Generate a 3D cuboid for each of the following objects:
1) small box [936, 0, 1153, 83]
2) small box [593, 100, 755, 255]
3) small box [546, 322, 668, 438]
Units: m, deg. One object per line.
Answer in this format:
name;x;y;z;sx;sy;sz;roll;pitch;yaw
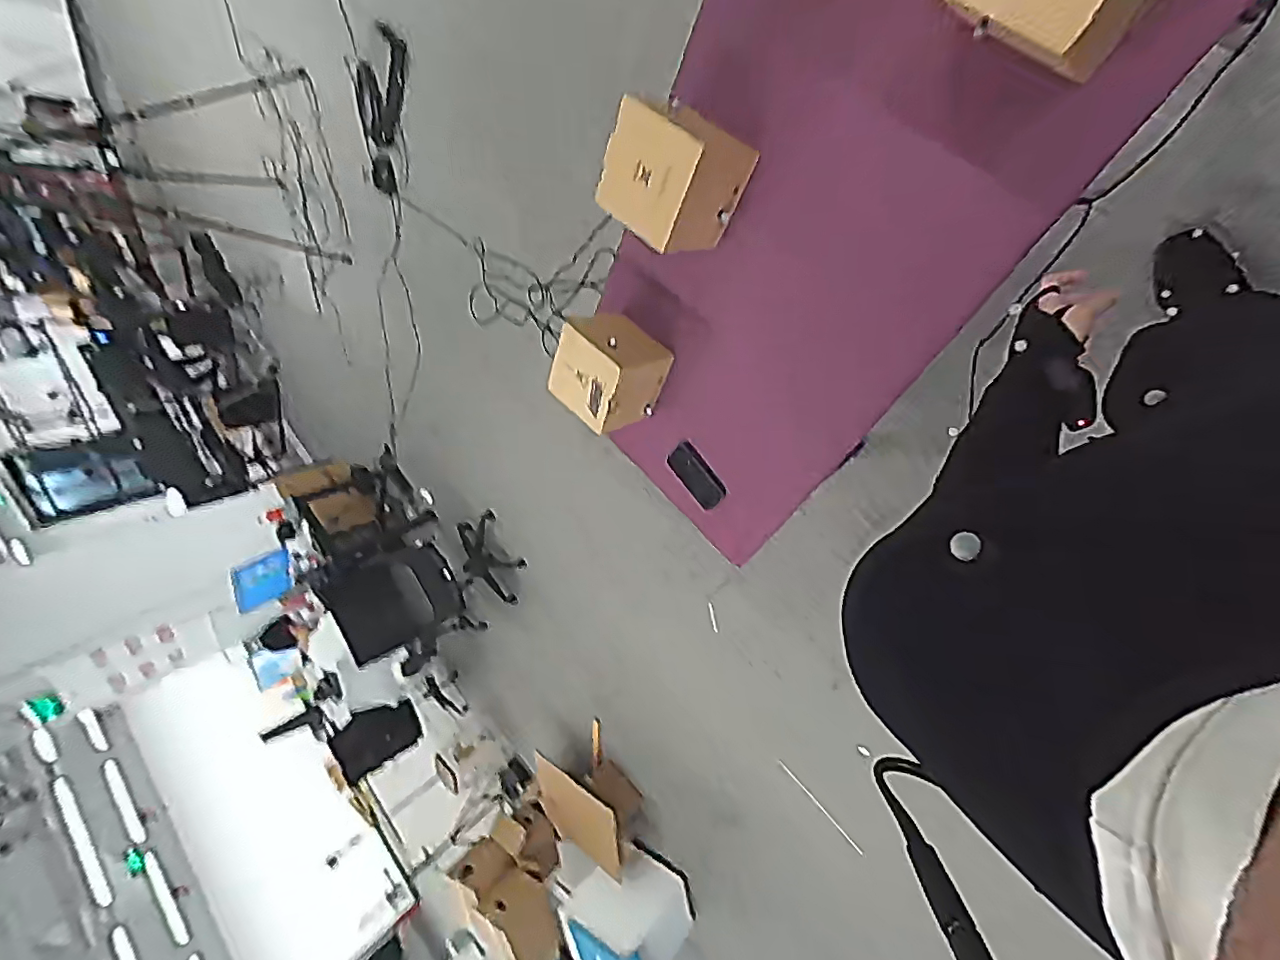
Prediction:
small box;0.424;-0.533;0.539;0.179;0.176;0.168;48;135;17
small box;0.056;-0.500;0.910;0.179;0.176;0.168;45;134;18
small box;-0.069;-0.221;1.151;0.179;0.176;0.168;43;132;22
